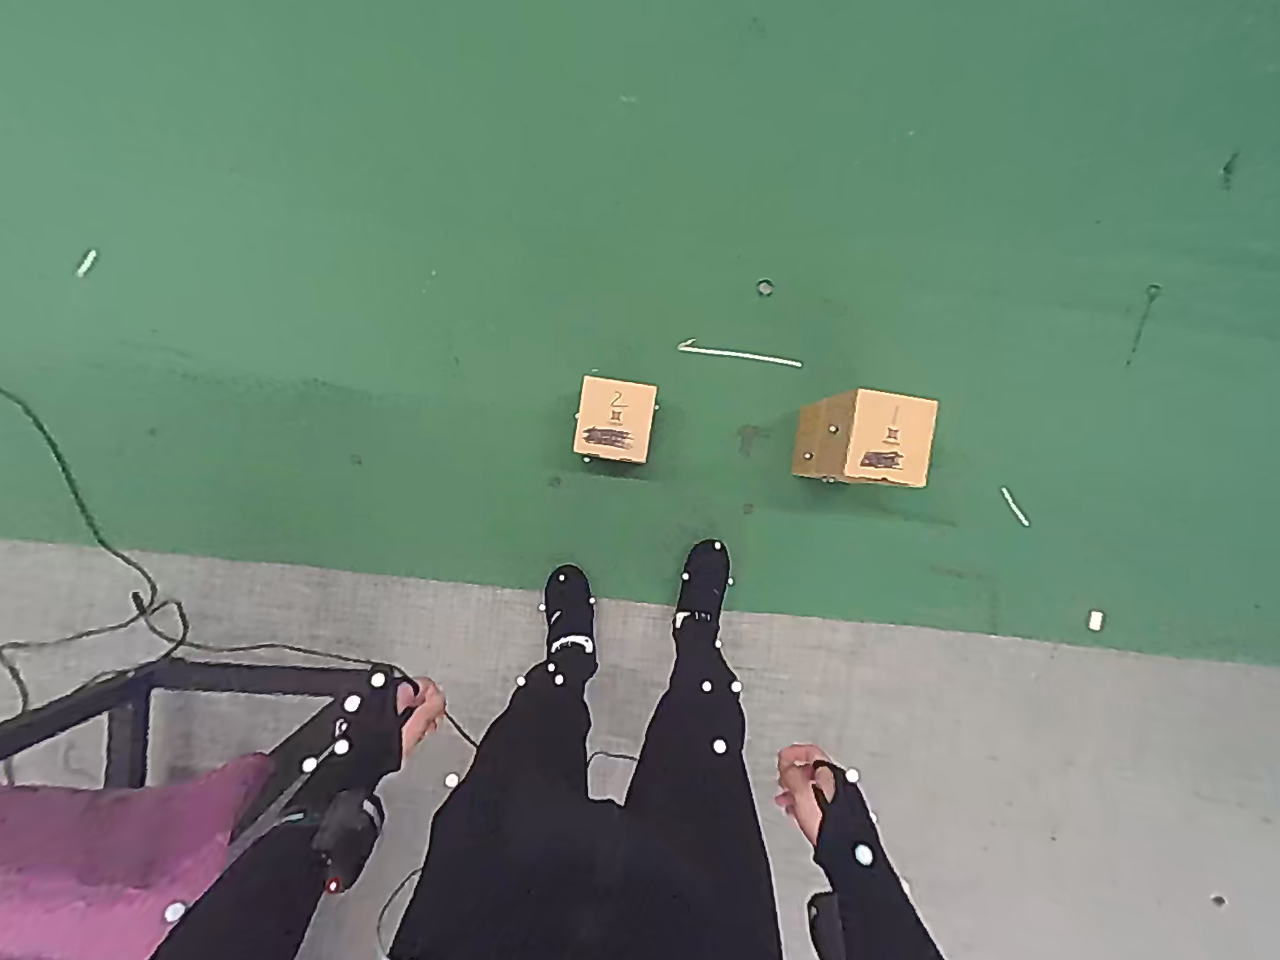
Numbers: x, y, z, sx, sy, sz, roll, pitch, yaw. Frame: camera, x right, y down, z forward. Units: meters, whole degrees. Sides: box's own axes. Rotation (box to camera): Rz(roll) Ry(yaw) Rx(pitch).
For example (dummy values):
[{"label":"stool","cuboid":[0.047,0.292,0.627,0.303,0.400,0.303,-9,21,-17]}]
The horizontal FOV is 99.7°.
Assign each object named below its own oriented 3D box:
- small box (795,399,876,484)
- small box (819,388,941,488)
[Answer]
[{"label":"small box","cuboid":[0.485,-0.089,1.300,0.168,0.176,0.179,8,92,-3]},{"label":"small box","cuboid":[0.492,-0.084,1.136,0.168,0.176,0.179,9,91,-3]}]
